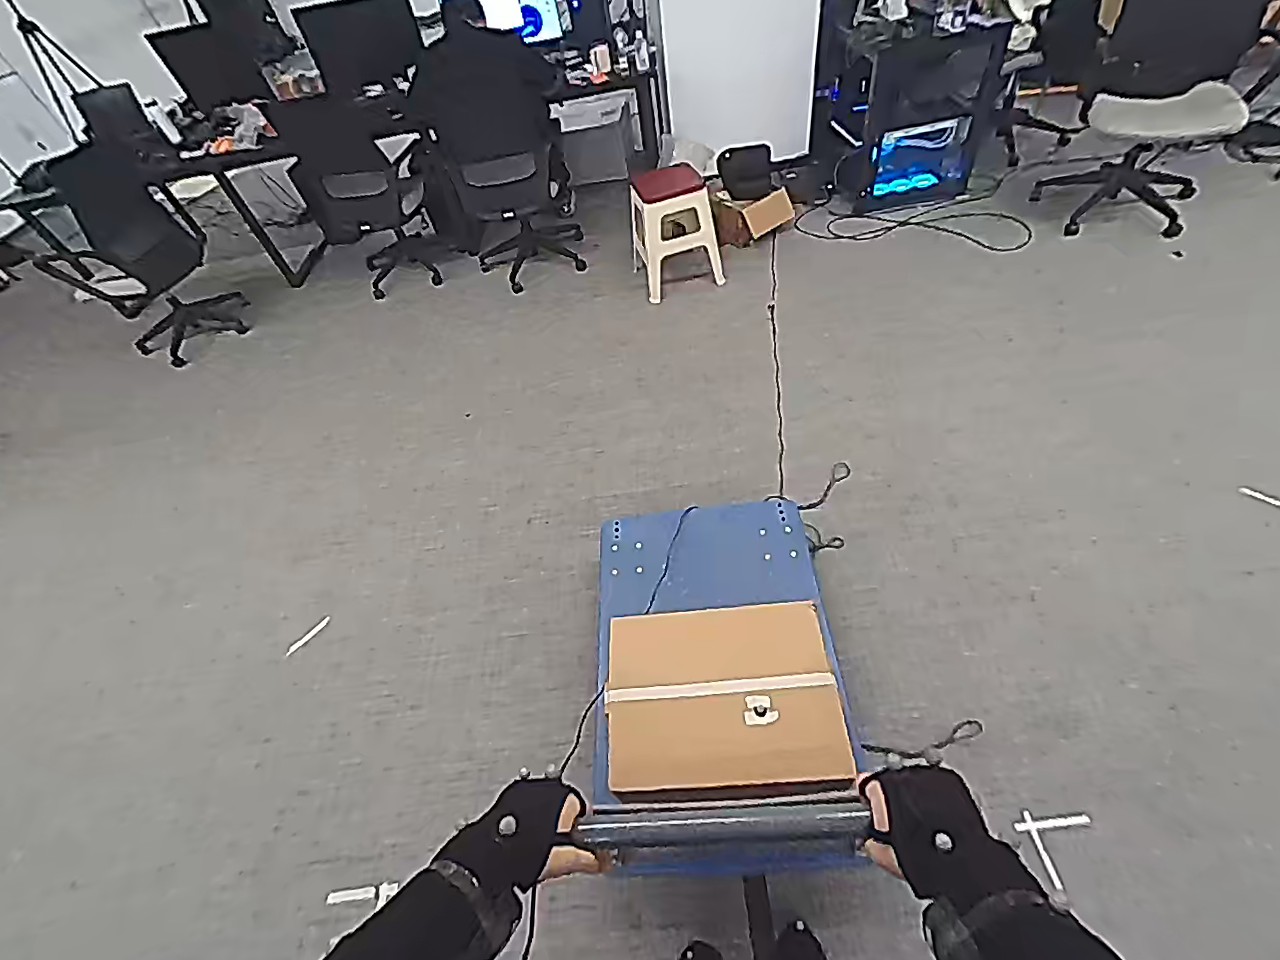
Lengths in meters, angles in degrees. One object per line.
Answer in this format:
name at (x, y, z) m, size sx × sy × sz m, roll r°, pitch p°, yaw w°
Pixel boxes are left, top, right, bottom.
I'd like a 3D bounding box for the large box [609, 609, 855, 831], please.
large box at (0.160, 0.483, 1.076) m, size 0.408 × 0.320 × 0.320 m, roll -6°, pitch 50°, yaw 5°
